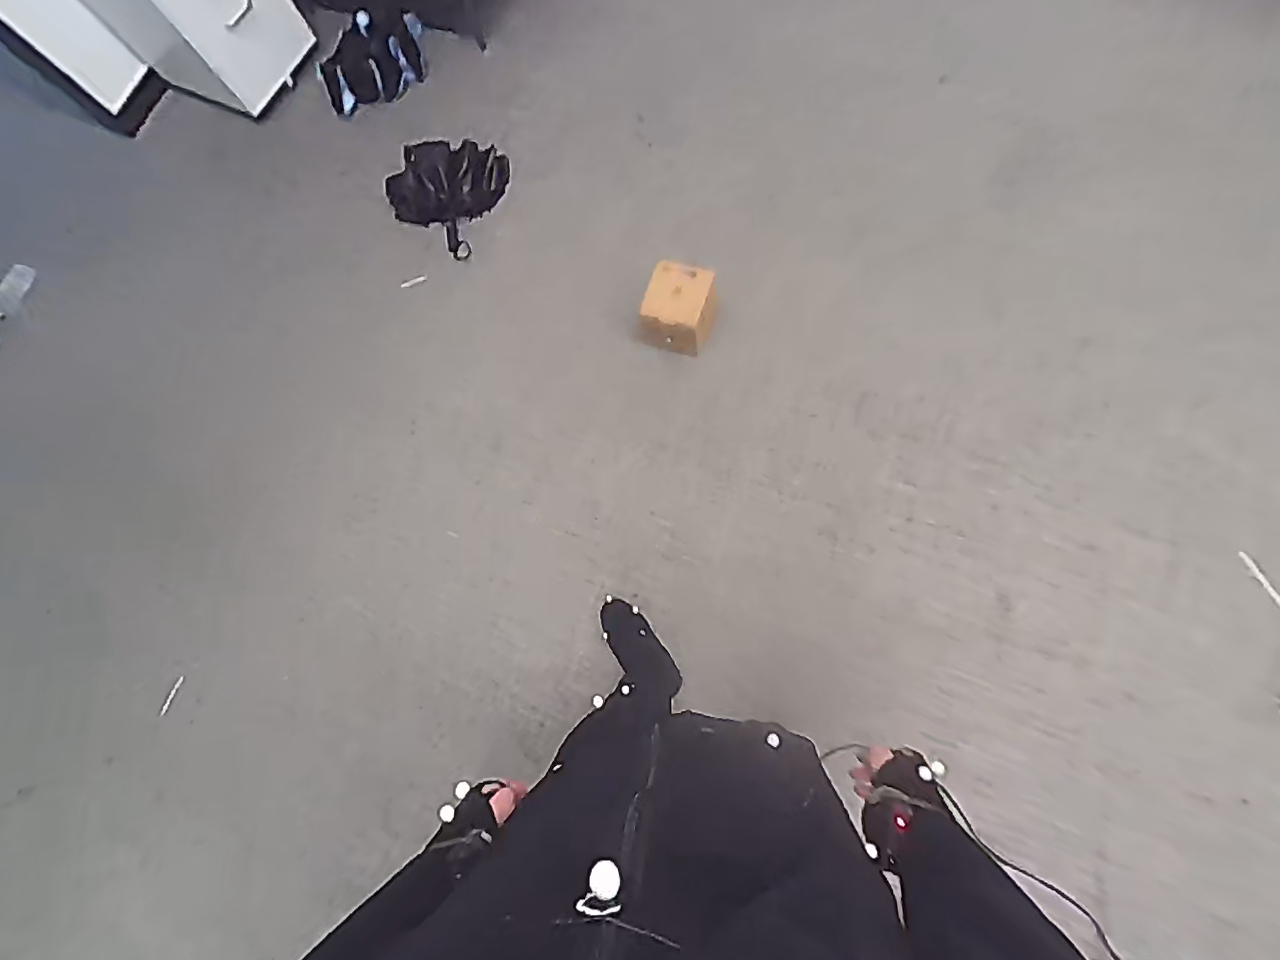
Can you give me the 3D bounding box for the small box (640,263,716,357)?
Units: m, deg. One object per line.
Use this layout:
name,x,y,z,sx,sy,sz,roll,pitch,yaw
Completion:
small box,0.115,-0.476,1.534,0.168,0.176,0.179,18,78,13
